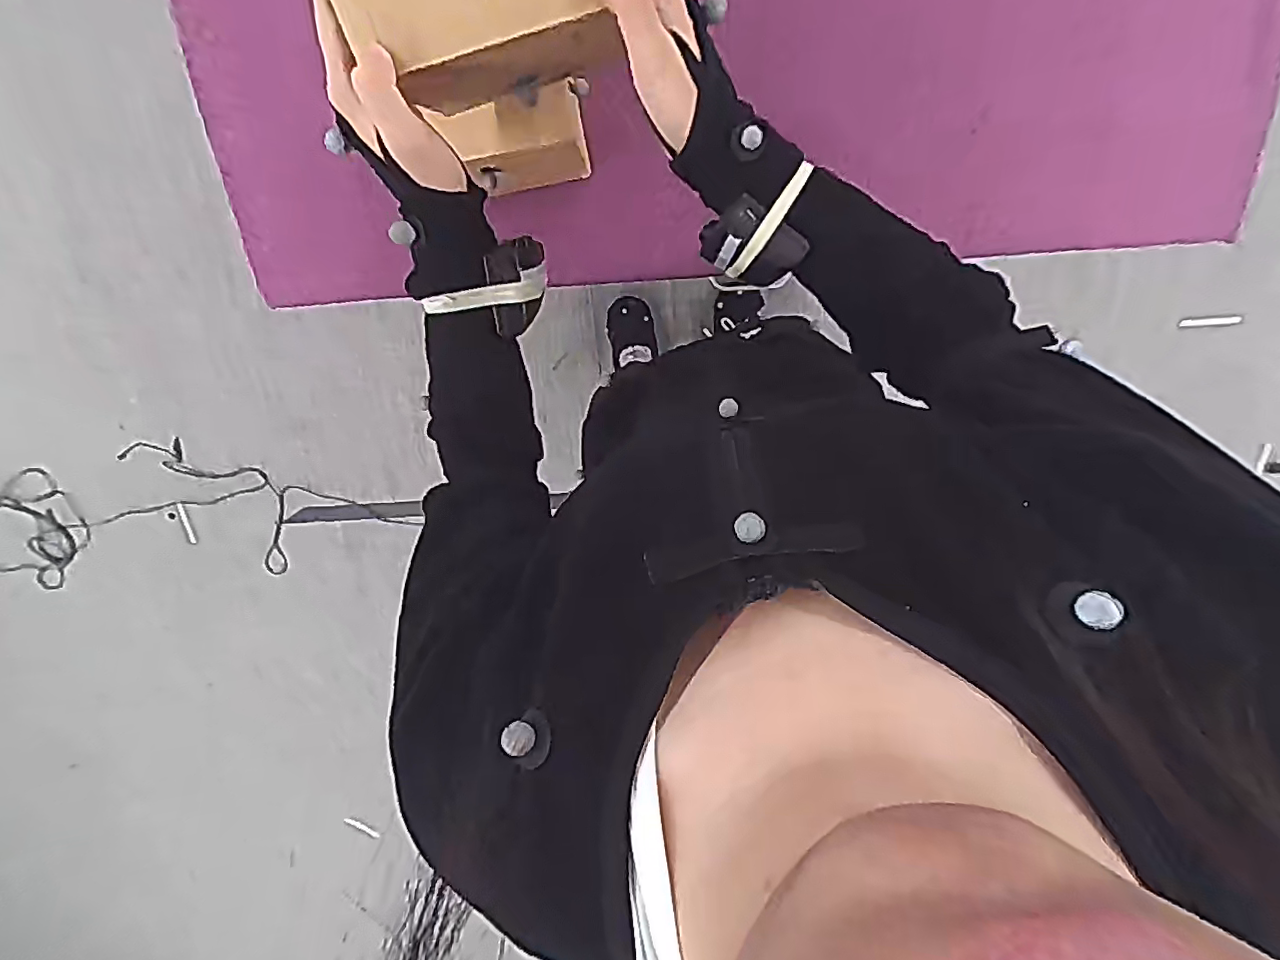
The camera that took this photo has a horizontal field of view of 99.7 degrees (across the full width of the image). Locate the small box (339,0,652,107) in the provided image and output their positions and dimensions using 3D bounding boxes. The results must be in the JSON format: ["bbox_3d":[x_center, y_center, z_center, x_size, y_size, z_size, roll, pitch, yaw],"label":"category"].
[{"bbox_3d":[-0.095,-0.353,0.323,0.168,0.176,0.179,-14,120,5],"label":"small box"}]

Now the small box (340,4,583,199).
[{"bbox_3d":[-0.158,-0.395,0.540,0.179,0.176,0.168,-10,110,4],"label":"small box"}]
